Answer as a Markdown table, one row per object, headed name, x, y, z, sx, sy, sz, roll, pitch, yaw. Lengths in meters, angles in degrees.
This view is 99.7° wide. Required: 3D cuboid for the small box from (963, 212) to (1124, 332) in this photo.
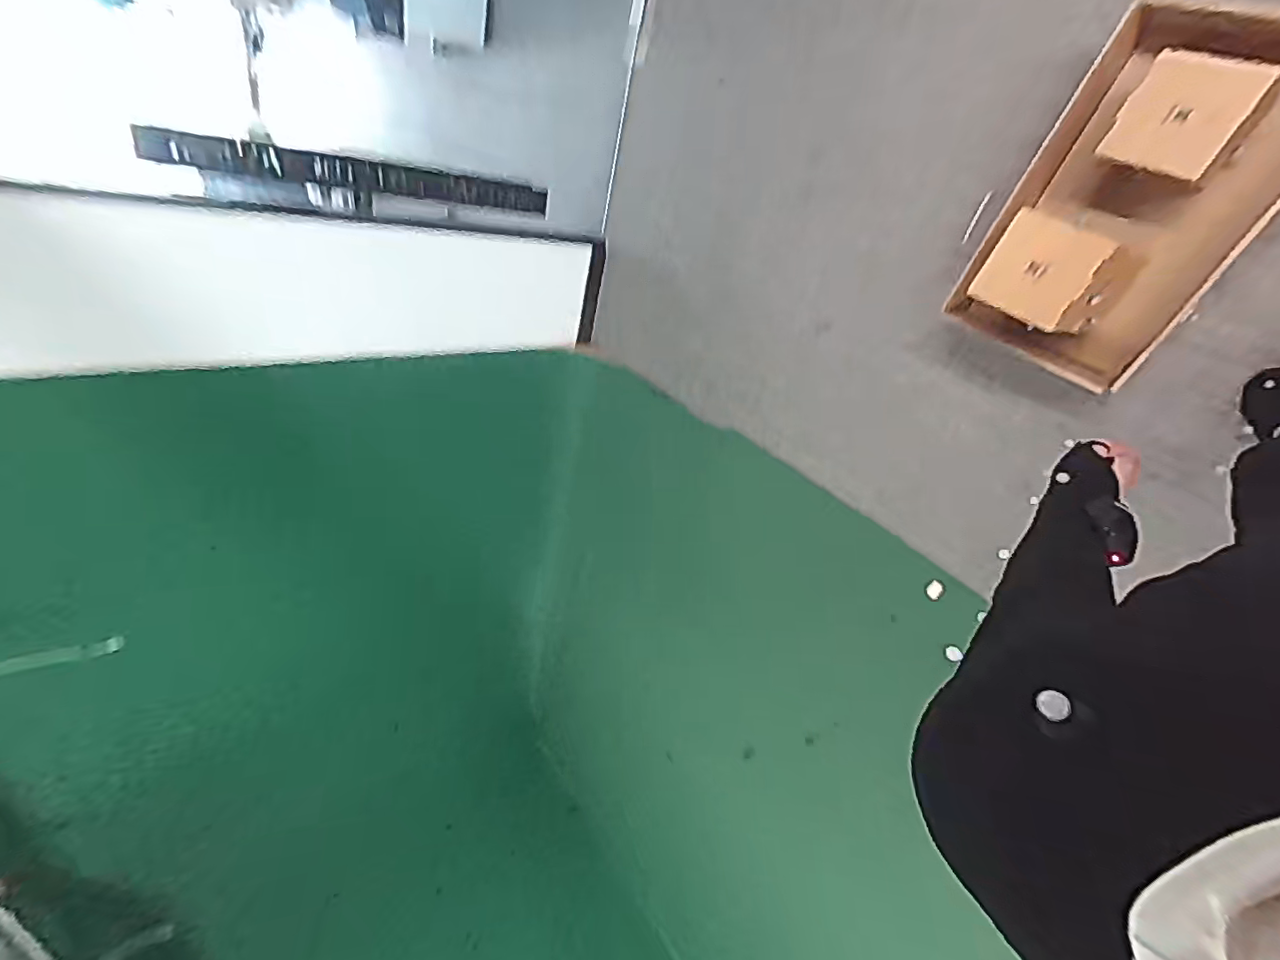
| name | x | y | z | sx | sy | sz | roll | pitch | yaw |
| --- | --- | --- | --- | --- | --- | --- | --- | --- | --- |
| small box | 0.791 | -0.401 | 1.063 | 0.179 | 0.176 | 0.168 | 45 | 130 | 32 |
